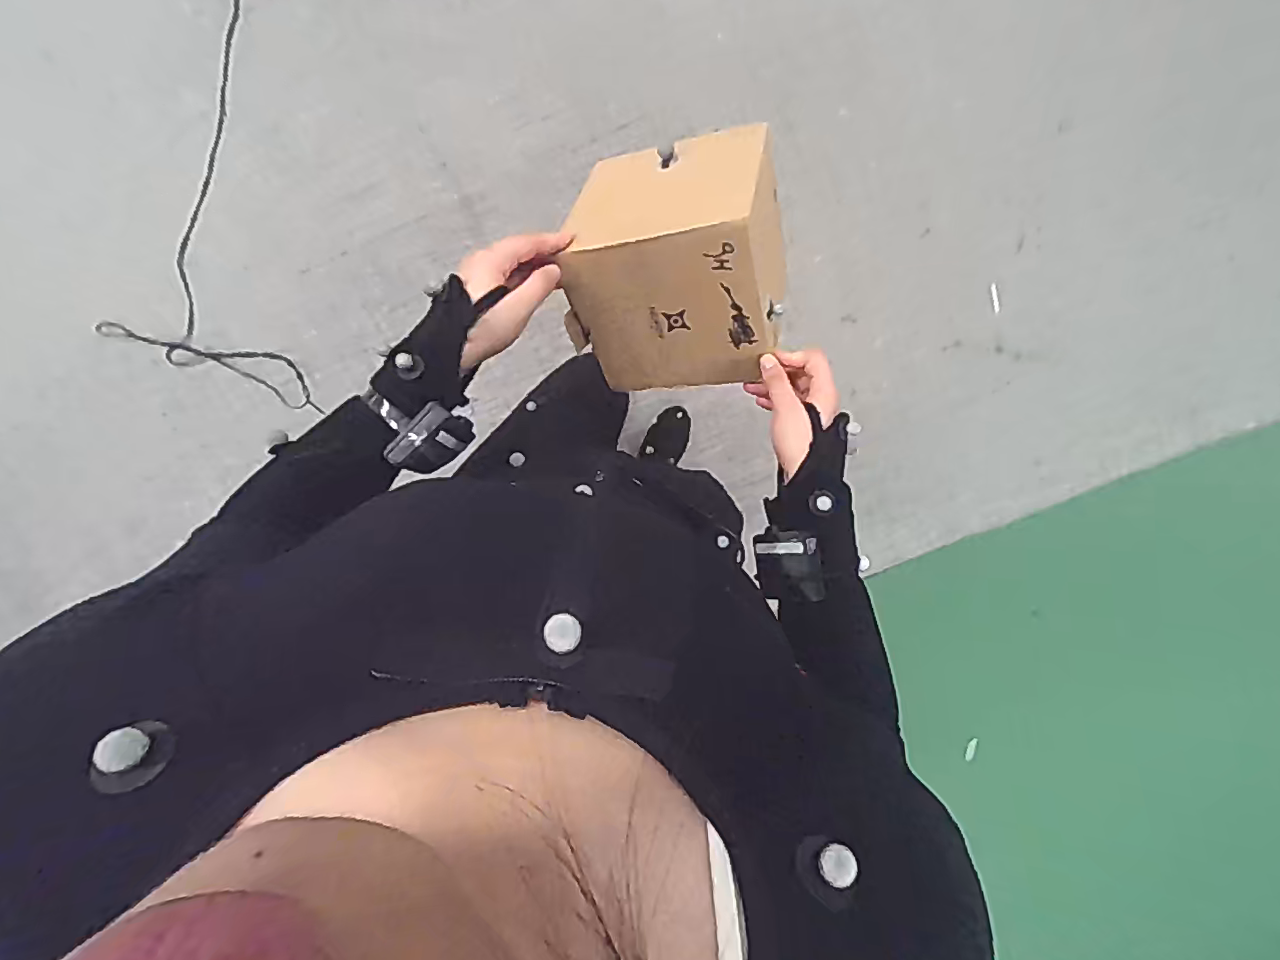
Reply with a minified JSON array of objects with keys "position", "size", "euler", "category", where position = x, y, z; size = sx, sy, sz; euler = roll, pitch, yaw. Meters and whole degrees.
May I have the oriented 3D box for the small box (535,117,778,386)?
[{"position":[0.031,-0.214,0.528],"size":[0.179,0.176,0.168],"euler":[-1,144,23],"category":"small box"}]
